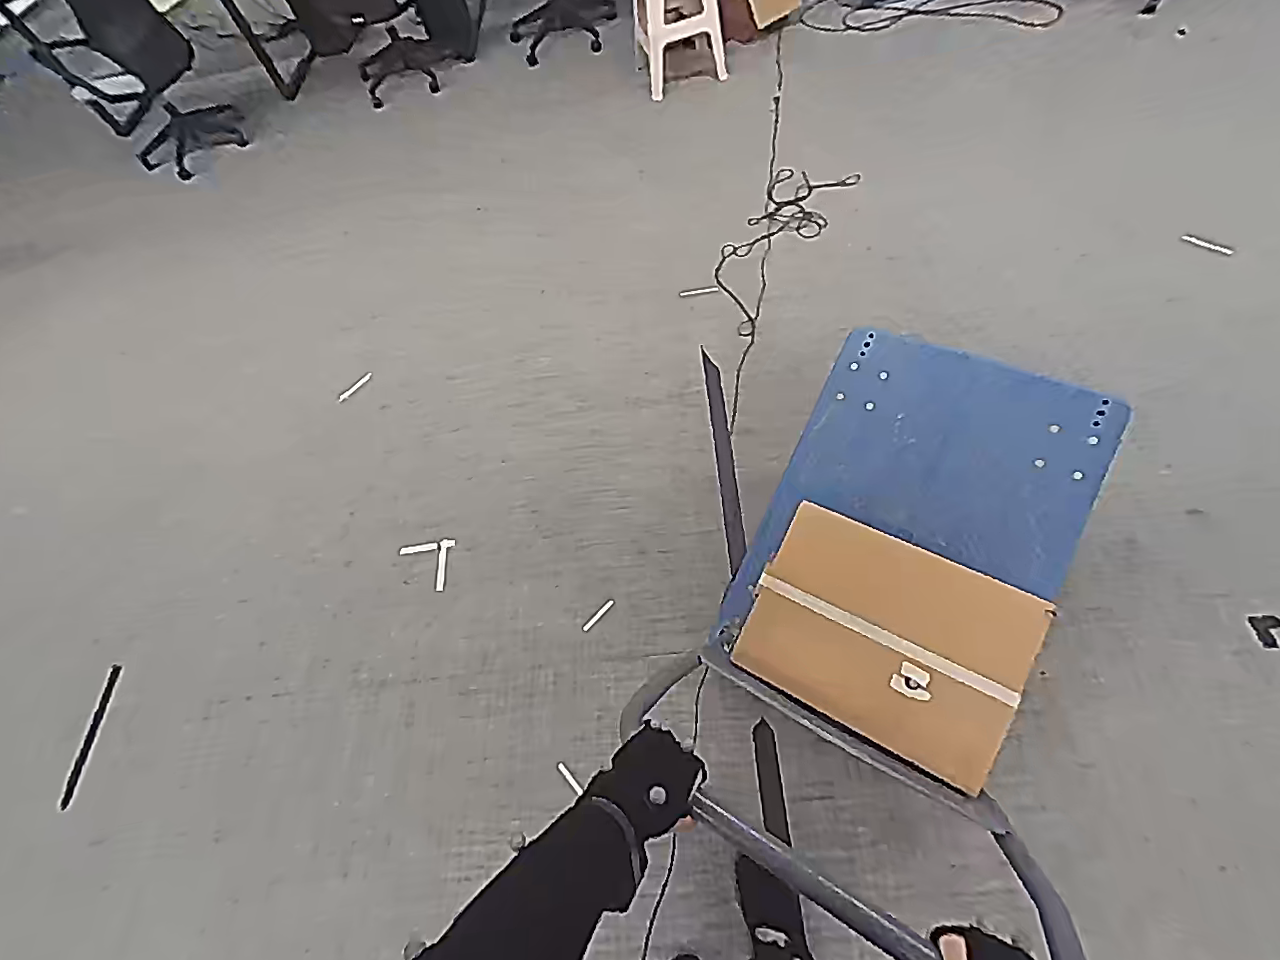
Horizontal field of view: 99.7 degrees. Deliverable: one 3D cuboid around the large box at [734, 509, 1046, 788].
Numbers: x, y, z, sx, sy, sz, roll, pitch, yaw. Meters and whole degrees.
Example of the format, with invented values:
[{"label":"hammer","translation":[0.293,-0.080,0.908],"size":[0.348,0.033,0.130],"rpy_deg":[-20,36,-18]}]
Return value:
[{"label":"large box","translation":[0.437,0.289,1.031],"size":[0.408,0.320,0.320],"rpy_deg":[24,87,21]}]
